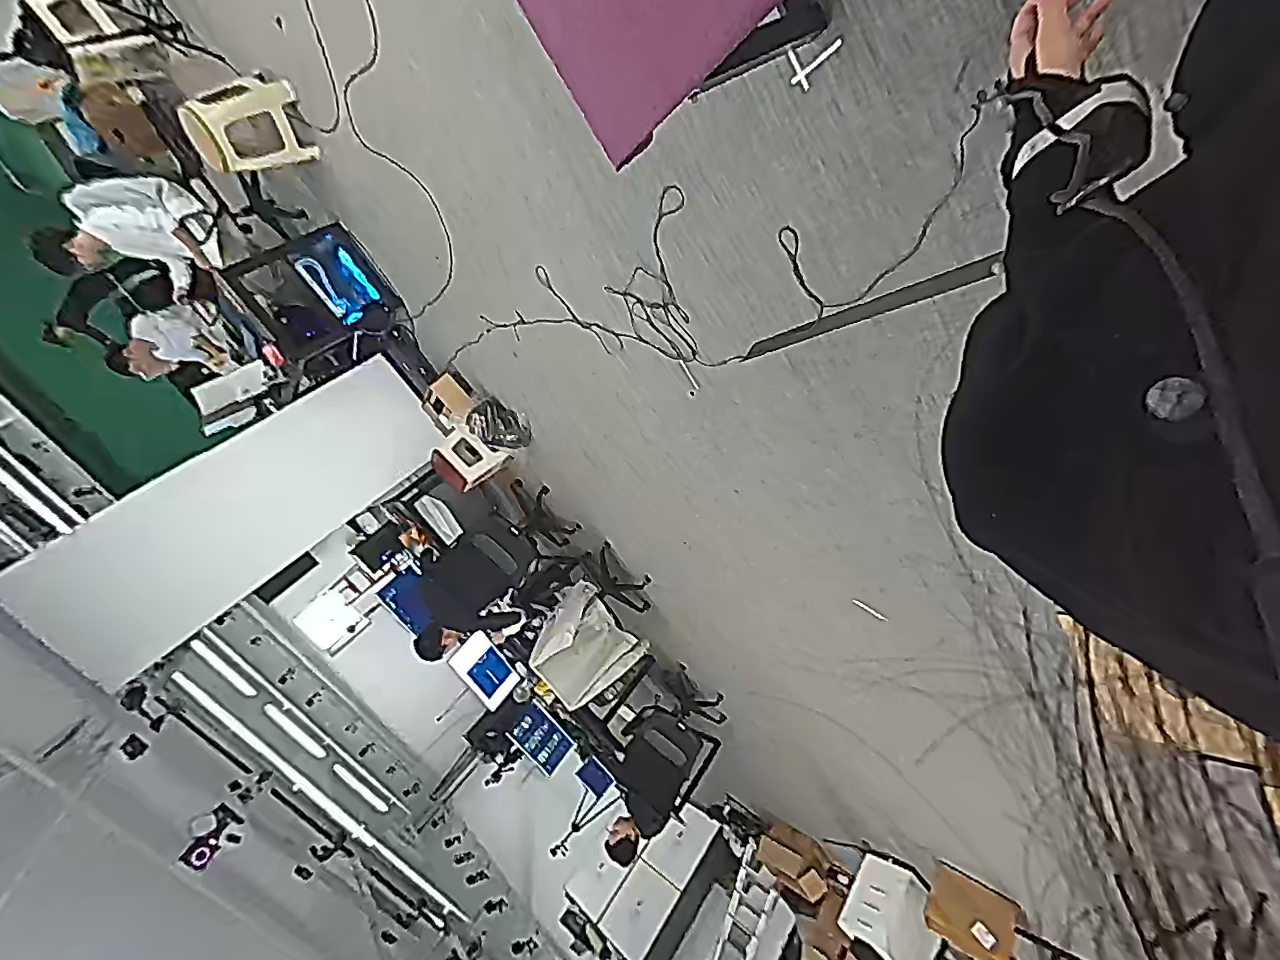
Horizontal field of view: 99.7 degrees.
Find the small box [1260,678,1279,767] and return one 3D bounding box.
[{"bbox_3d":[1.763,0.653,1.420,0.168,0.176,0.179,-3,126,54],"label":"small box"}]
